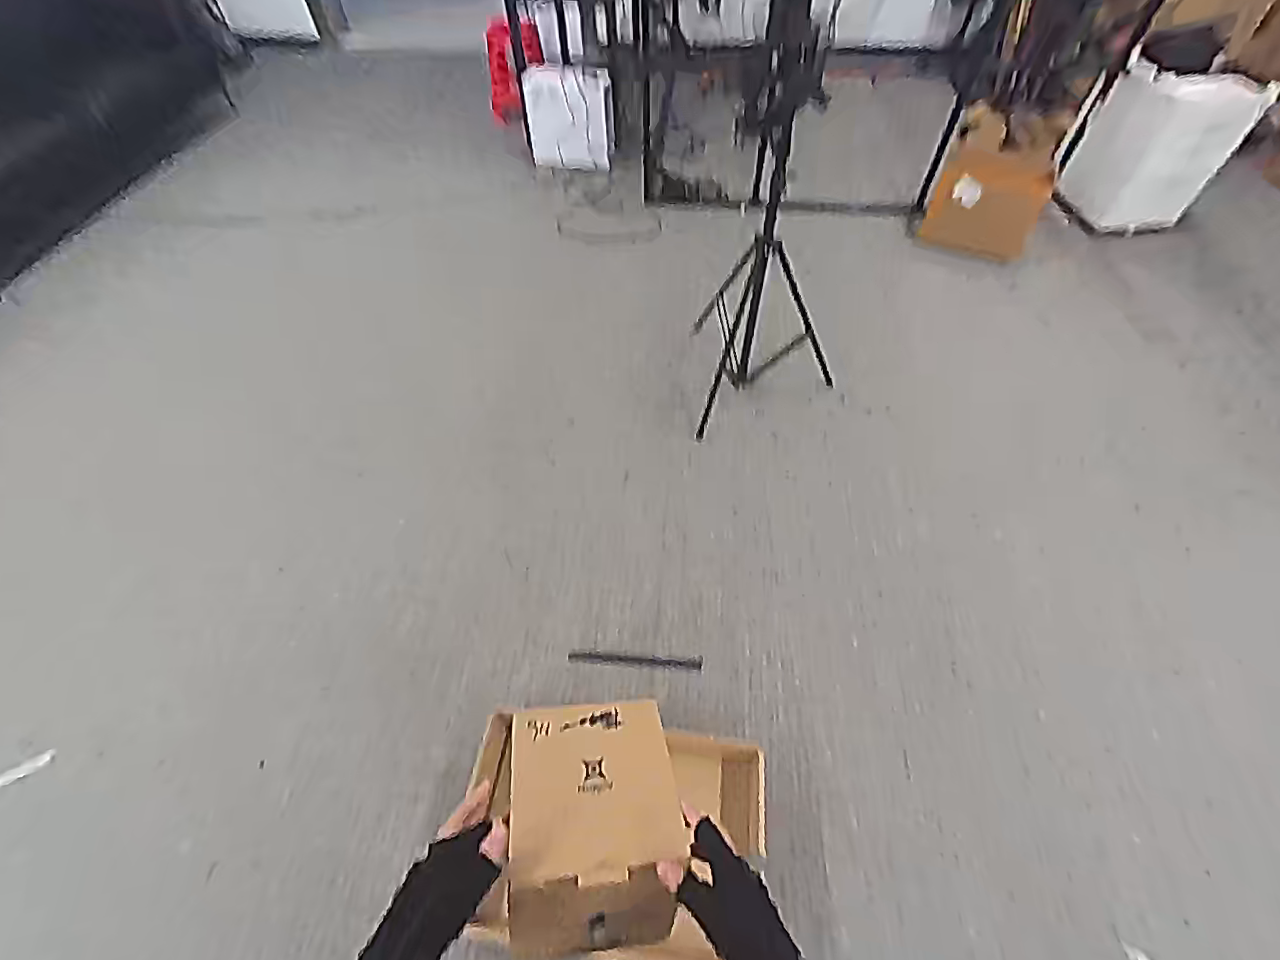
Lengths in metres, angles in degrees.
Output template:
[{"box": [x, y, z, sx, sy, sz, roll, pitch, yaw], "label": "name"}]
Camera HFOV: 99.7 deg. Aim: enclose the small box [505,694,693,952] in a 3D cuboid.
[{"box": [-0.051, 0.359, 0.571, 0.168, 0.176, 0.179, -1, 33, -12], "label": "small box"}]
